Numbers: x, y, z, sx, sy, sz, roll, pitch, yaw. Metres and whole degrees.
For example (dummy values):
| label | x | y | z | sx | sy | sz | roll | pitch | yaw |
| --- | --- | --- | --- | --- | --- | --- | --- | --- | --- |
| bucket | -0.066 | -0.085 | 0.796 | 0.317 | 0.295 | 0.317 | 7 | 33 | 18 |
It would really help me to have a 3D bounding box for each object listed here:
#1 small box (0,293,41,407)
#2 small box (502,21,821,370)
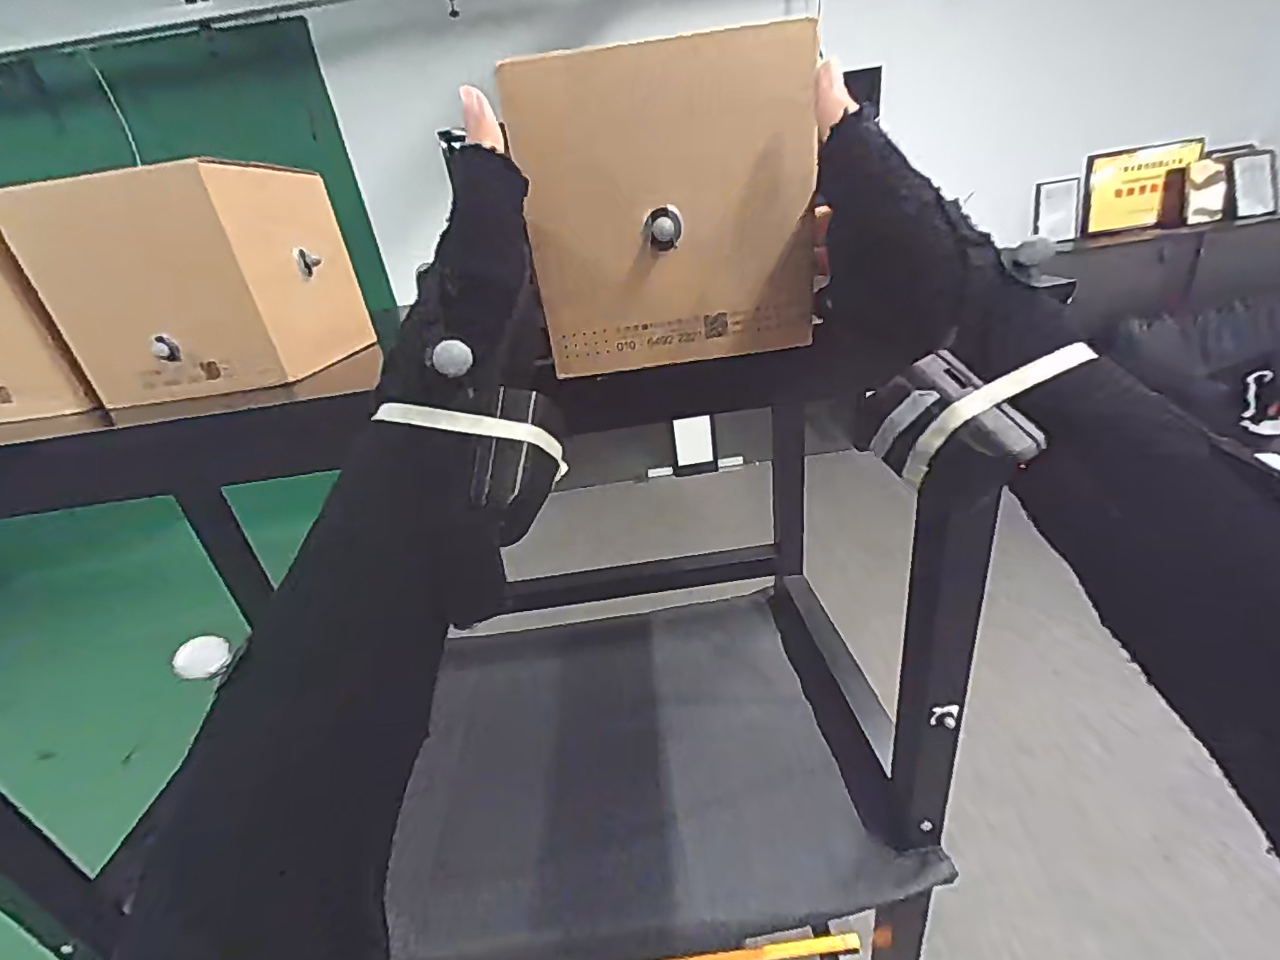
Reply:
| label | x | y | z | sx | sy | sz | roll | pitch | yaw |
| --- | --- | --- | --- | --- | --- | --- | --- | --- | --- |
| small box | -0.748 | -0.130 | 0.510 | 0.168 | 0.176 | 0.179 | -8 | 27 | -1 |
| small box | 0.018 | -0.181 | 0.377 | 0.168 | 0.176 | 0.179 | -7 | 28 | 1 |
